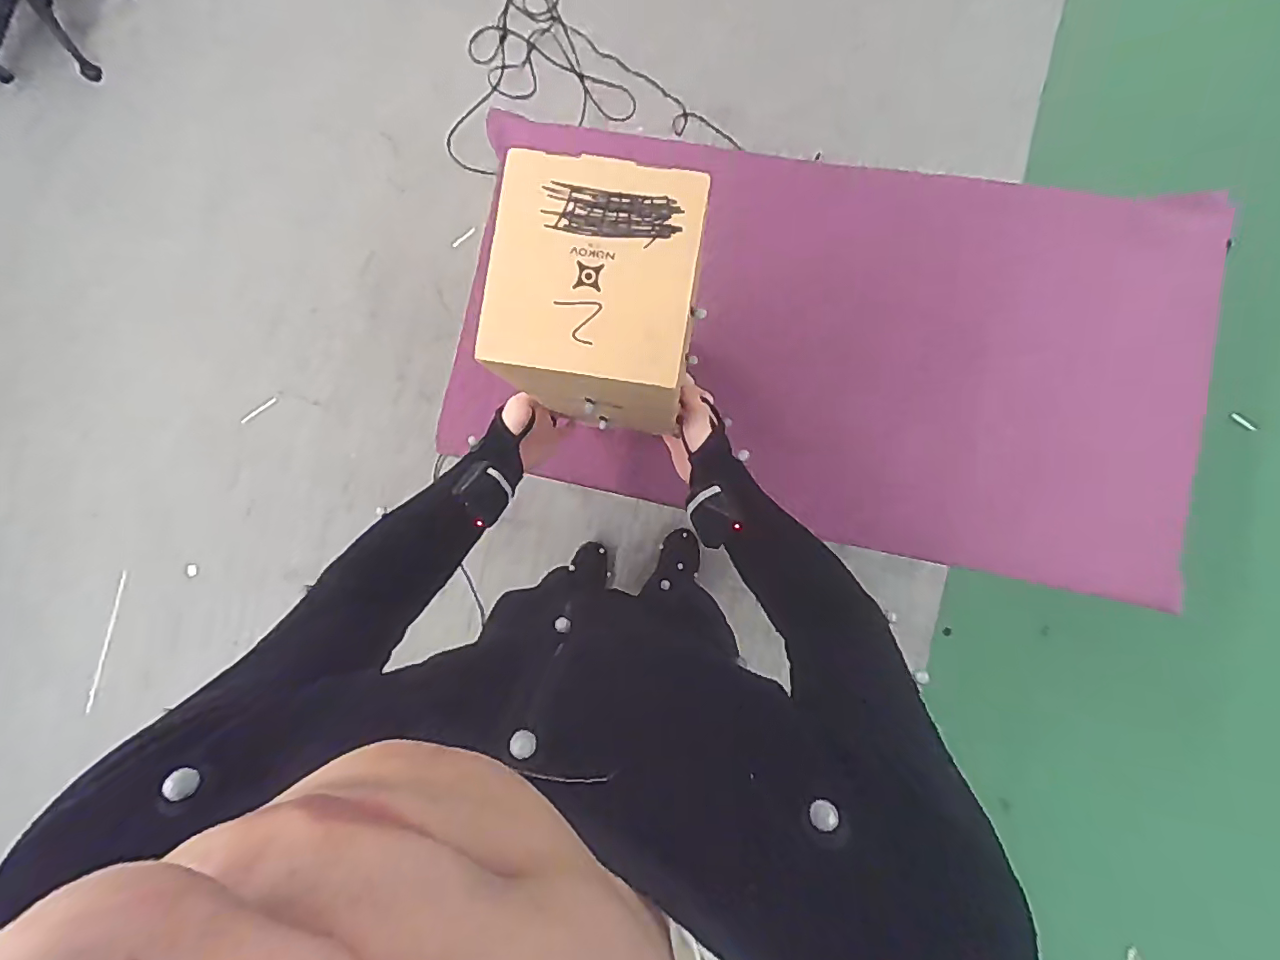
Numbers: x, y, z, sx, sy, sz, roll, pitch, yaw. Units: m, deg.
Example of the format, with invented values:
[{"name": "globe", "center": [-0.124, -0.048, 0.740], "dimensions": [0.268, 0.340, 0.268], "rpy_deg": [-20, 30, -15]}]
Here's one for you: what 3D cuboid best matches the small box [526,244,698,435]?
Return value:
[{"name": "small box", "center": [-0.026, -0.157, 0.663], "dimensions": [0.168, 0.176, 0.179], "rpy_deg": [10, 88, 3]}]
